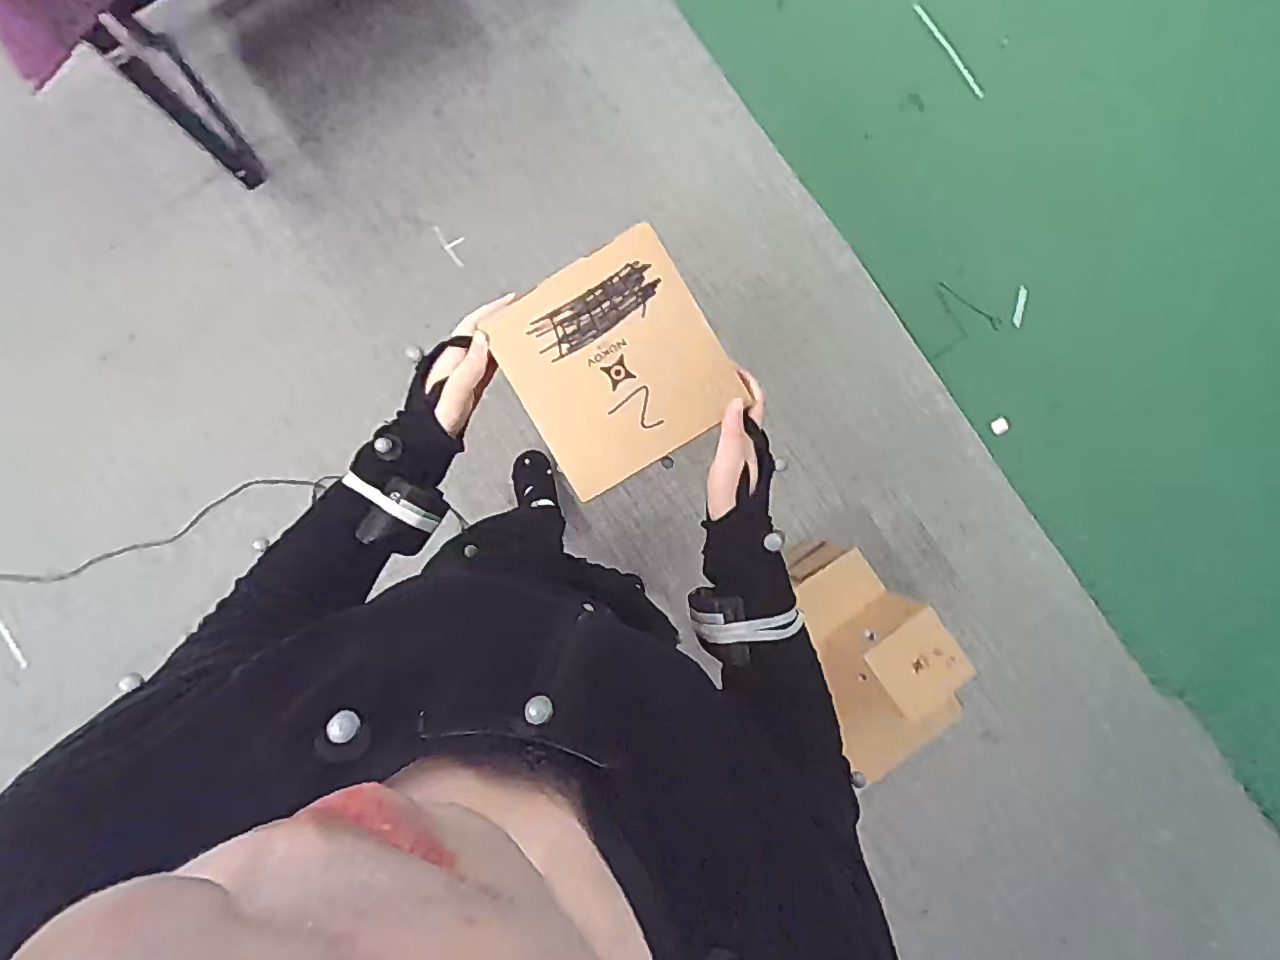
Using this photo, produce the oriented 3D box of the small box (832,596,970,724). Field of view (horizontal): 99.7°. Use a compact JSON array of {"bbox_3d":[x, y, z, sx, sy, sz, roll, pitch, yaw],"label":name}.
[{"bbox_3d":[0.533,0.368,1.140,0.179,0.176,0.168,-34,90,-6],"label":"small box"}]
